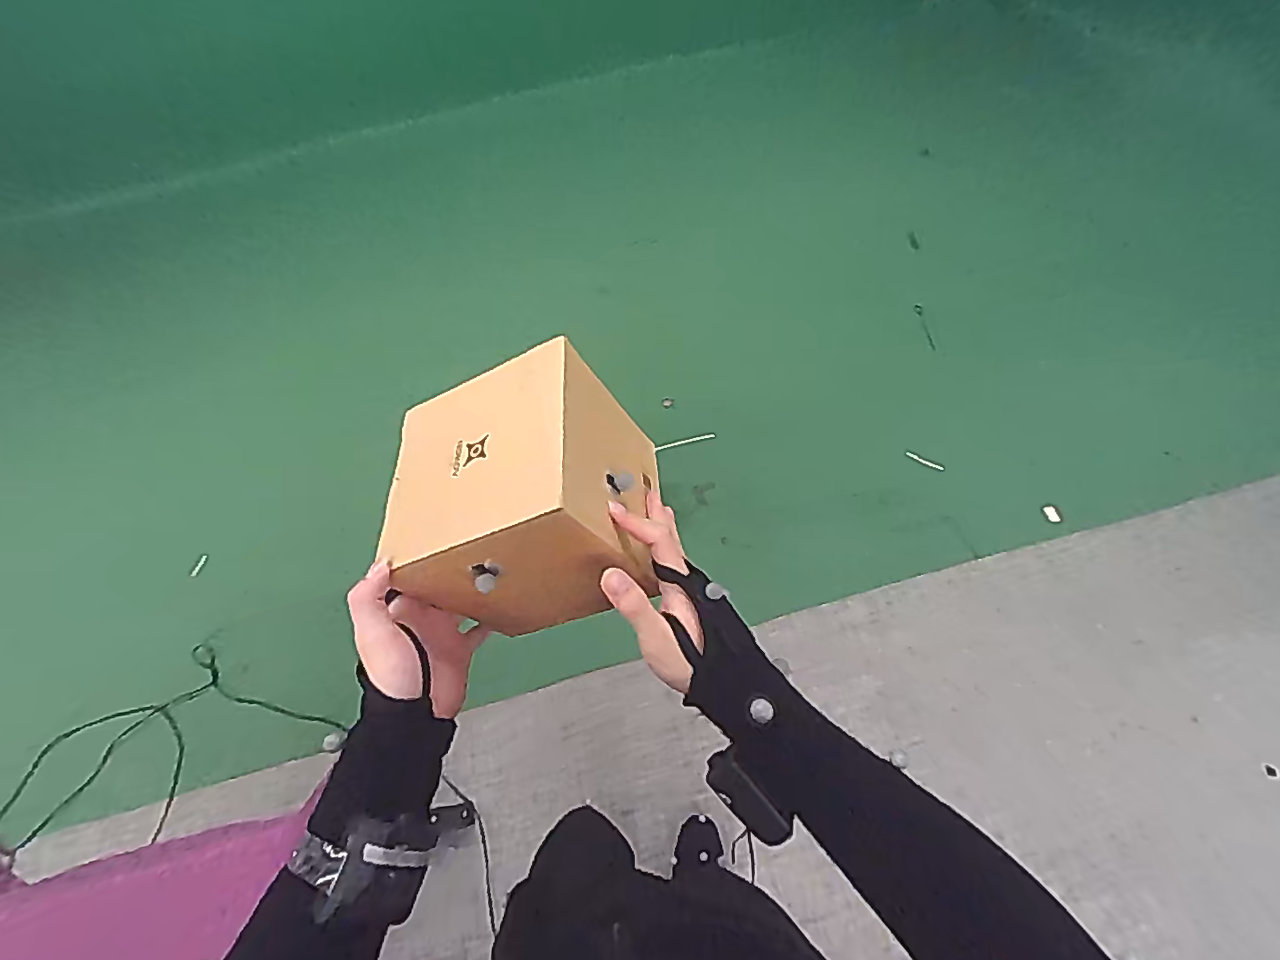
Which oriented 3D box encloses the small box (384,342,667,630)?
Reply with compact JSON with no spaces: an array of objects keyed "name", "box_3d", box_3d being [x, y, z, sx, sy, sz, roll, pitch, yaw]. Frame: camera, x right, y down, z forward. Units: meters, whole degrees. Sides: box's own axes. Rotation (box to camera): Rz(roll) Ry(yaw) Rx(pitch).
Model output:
[{"name":"small box","box_3d":[-0.086,0.018,0.483,0.179,0.176,0.168,-21,51,22]}]
